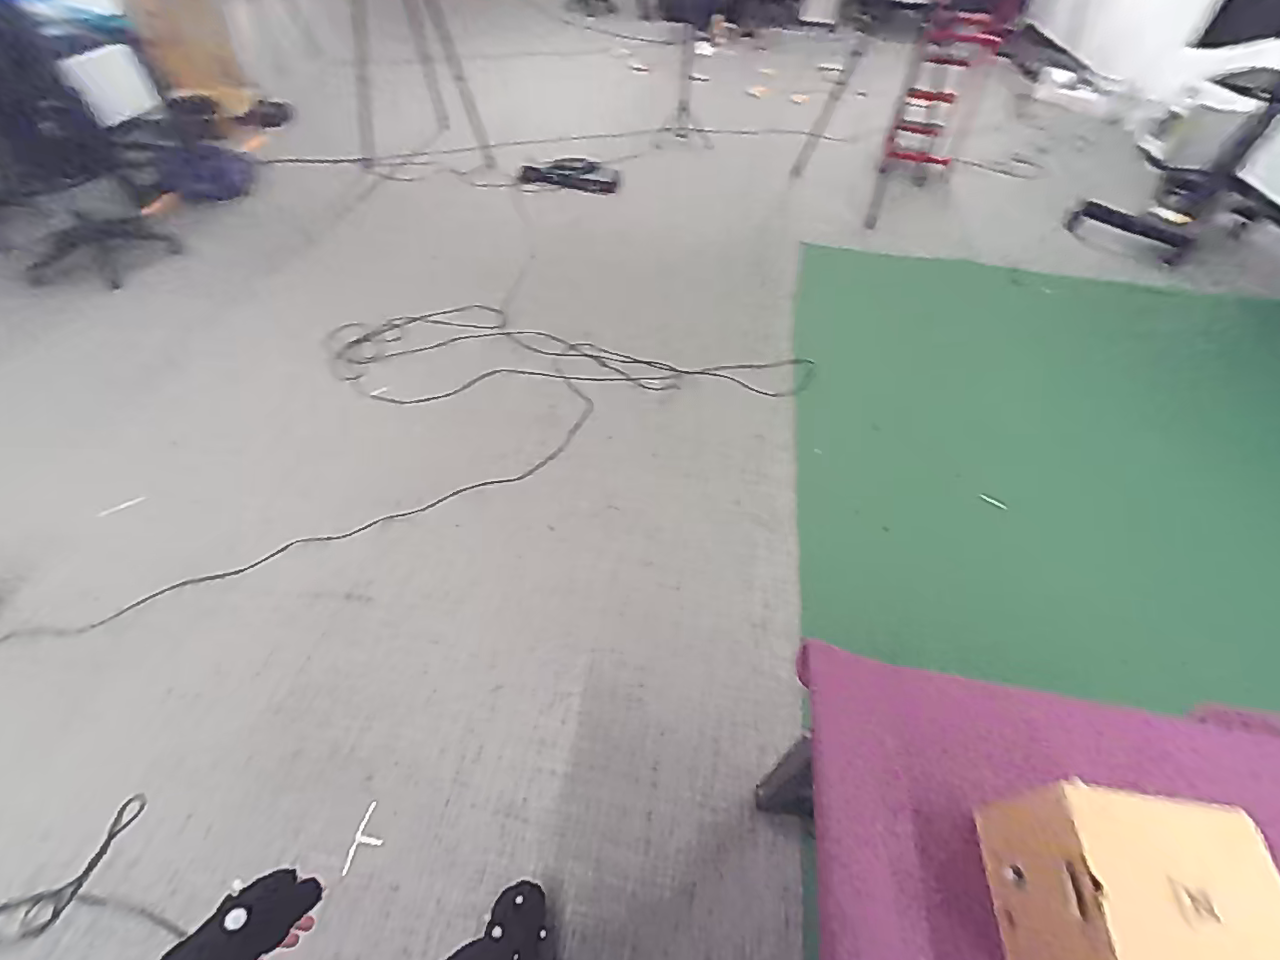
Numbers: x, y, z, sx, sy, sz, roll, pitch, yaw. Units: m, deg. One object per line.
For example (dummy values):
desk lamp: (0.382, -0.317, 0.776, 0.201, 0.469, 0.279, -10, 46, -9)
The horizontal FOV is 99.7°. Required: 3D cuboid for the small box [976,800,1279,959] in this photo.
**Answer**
small box: (0.477, 0.436, 0.535, 0.179, 0.176, 0.168, 7, 51, 4)
